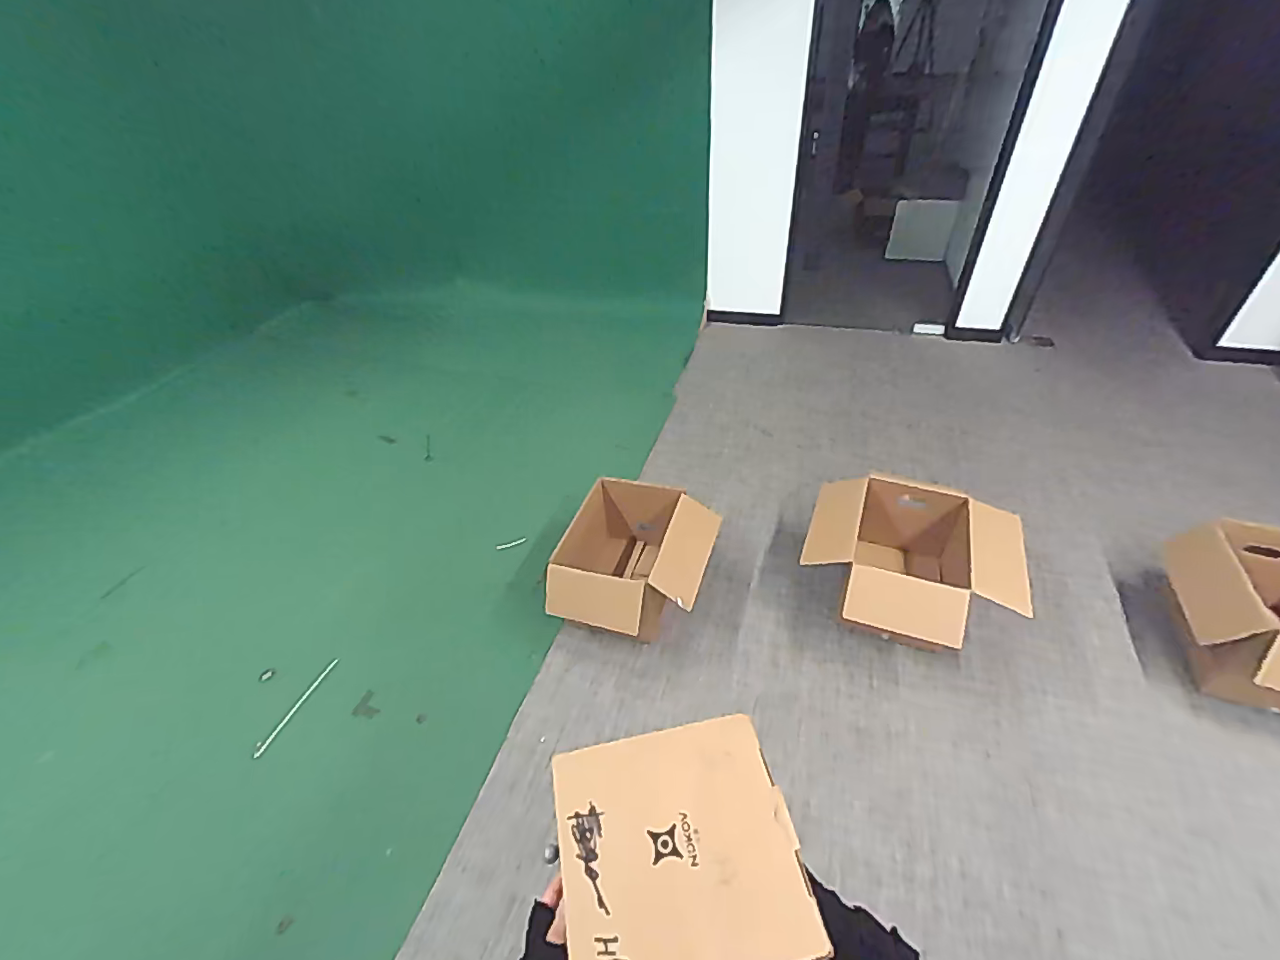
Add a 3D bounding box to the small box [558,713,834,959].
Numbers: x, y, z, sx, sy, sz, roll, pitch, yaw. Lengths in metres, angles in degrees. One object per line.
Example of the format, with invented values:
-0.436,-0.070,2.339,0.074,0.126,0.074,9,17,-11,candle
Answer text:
0.033,0.333,0.463,0.179,0.176,0.168,-10,40,-9,small box
